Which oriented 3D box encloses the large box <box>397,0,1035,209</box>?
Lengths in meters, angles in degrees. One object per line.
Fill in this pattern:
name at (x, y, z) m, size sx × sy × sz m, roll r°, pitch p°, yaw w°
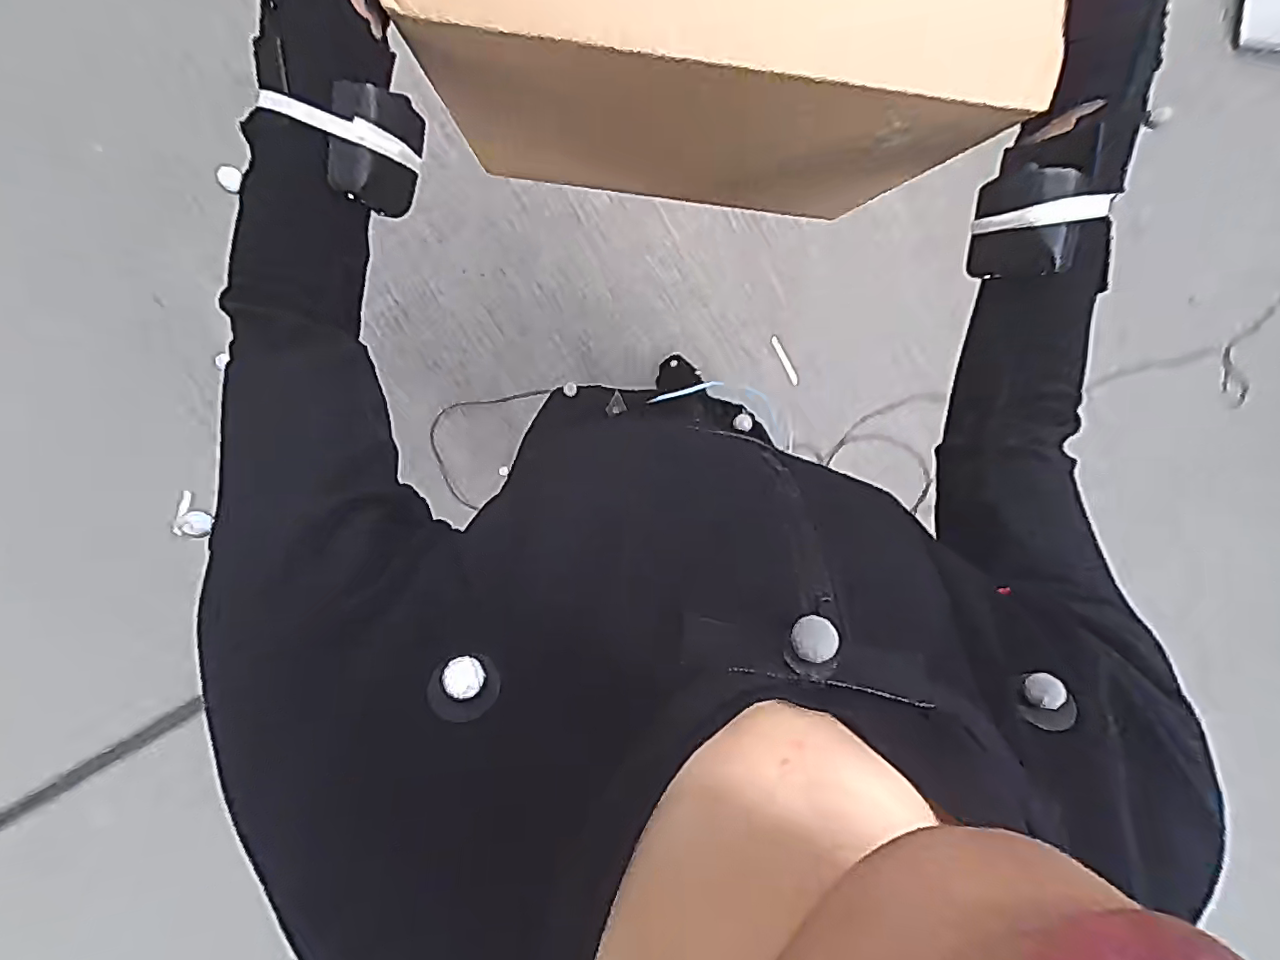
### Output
large box at (0.047, -0.441, 0.446) m, size 0.408 × 0.320 × 0.320 m, roll 3°, pitch 104°, yaw -7°
